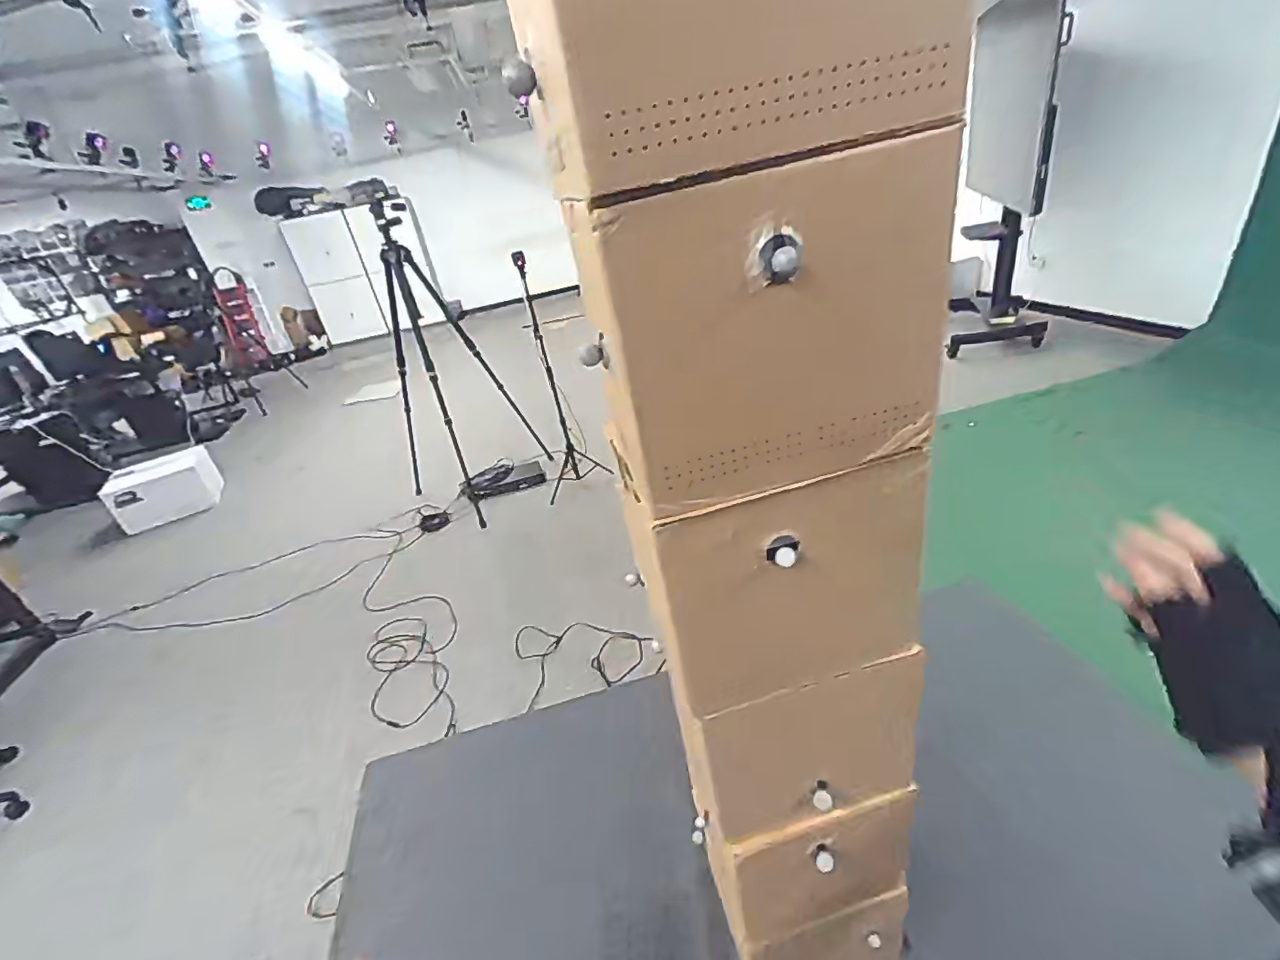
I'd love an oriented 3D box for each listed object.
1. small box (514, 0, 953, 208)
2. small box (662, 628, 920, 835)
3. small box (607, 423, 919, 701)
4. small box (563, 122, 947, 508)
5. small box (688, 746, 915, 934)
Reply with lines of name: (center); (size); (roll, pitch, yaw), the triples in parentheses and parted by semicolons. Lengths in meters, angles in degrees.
small box: (0.030, -0.241, 0.264); (0.179, 0.176, 0.168); (-16, 29, -6)
small box: (0.122, 0.181, 0.497); (0.179, 0.176, 0.168); (-14, 28, -5)
small box: (0.086, 0.039, 0.422); (0.179, 0.176, 0.168); (-15, 29, -6)
small box: (0.060, -0.102, 0.344); (0.179, 0.176, 0.168); (-15, 29, -4)
small box: (0.154, 0.324, 0.570); (0.179, 0.176, 0.168); (-15, 29, -7)
